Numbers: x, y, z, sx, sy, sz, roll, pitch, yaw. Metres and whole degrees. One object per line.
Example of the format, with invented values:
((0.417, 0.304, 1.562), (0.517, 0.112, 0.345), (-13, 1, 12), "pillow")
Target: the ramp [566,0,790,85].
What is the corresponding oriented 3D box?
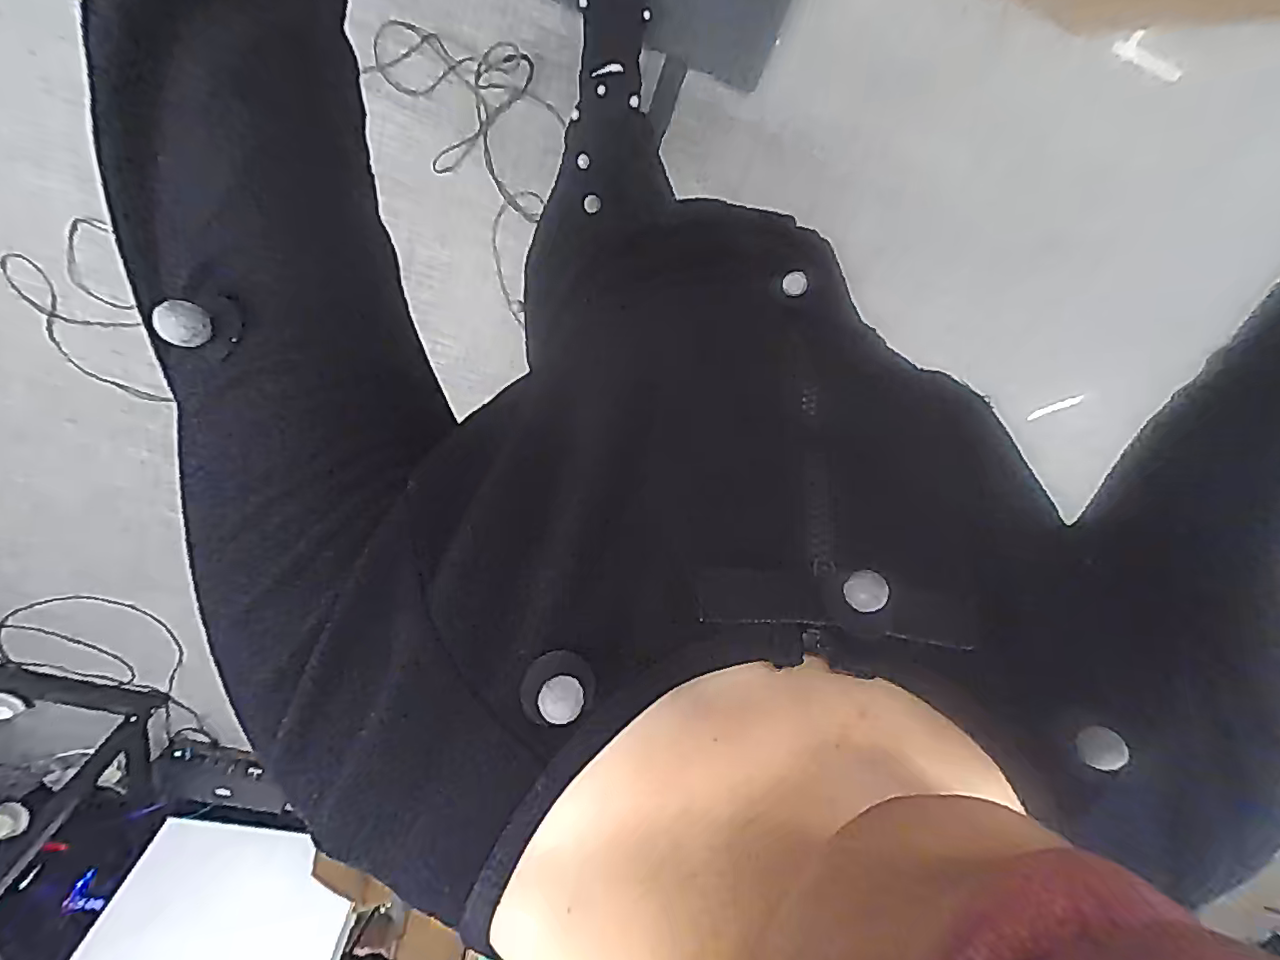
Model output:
((0.184, -1.248, 0.790), (0.509, 0.206, 0.991), (15, 119, -12), "ramp")
